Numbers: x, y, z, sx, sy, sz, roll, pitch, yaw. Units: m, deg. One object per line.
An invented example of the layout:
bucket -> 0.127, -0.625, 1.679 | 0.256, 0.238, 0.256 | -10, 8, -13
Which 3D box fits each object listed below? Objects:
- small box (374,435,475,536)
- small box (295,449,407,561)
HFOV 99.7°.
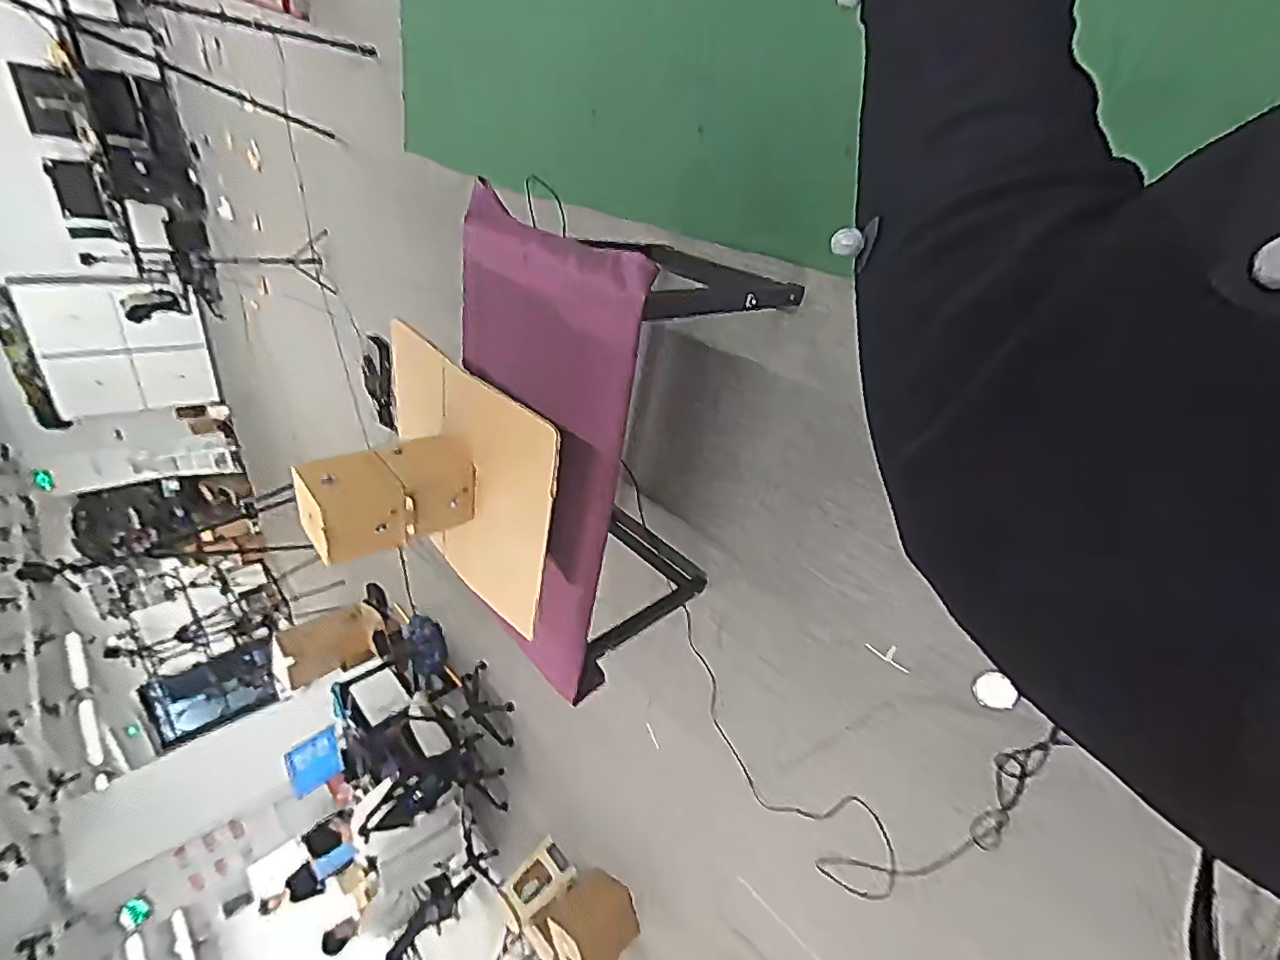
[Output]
small box -> -0.517, 0.003, 1.301 | 0.179, 0.176, 0.168 | 37, 129, 33
small box -> -0.634, 0.044, 1.194 | 0.179, 0.176, 0.168 | 36, 128, 33
